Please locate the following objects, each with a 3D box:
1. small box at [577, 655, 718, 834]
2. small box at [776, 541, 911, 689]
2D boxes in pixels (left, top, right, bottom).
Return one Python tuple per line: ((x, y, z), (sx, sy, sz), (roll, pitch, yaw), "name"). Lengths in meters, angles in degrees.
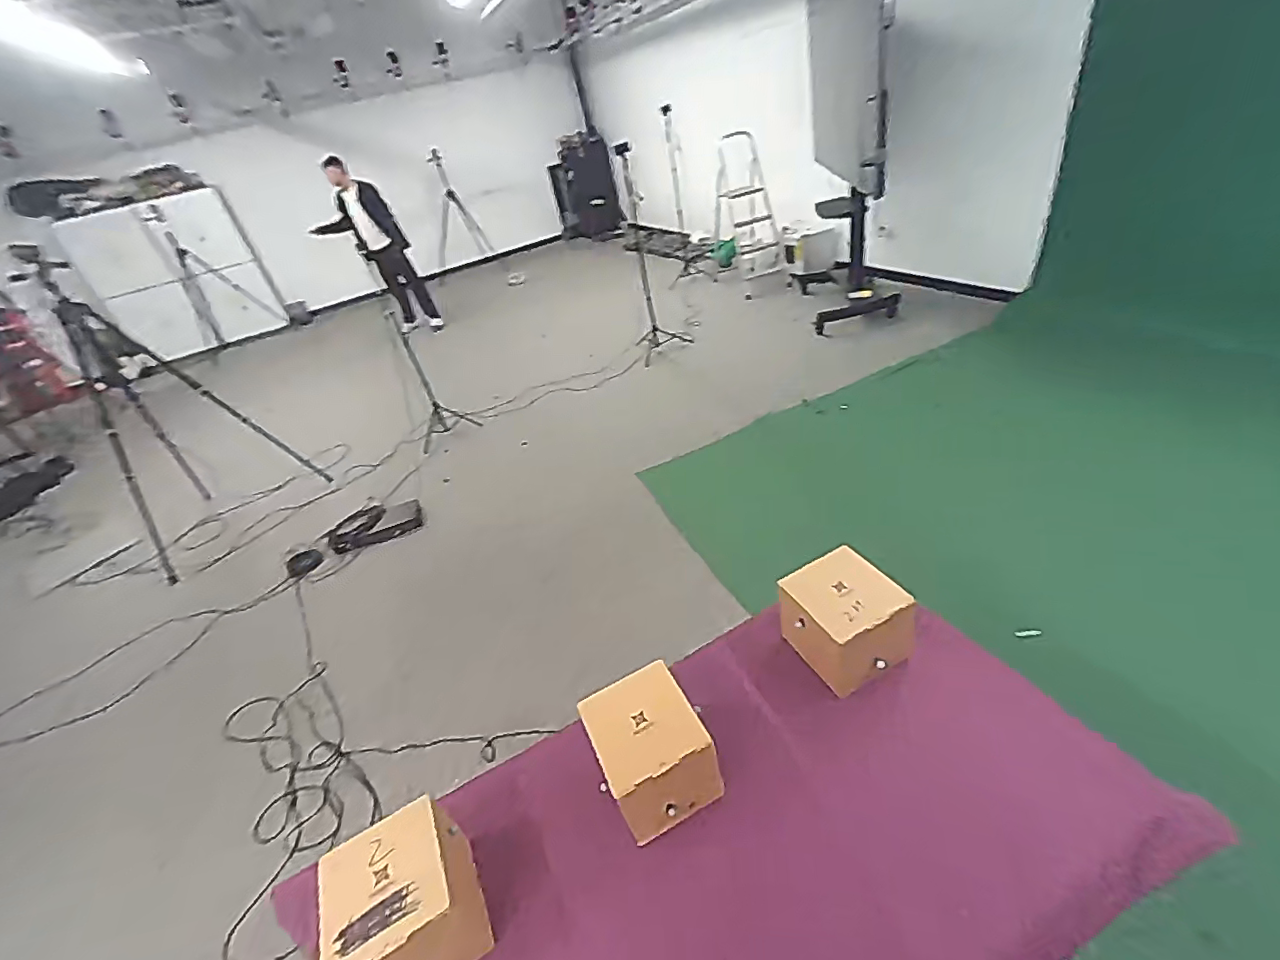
((0.014, 0.439, 0.904), (0.168, 0.176, 0.179), (-24, 37, -15), "small box")
((0.381, 0.256, 1.028), (0.168, 0.176, 0.179), (-25, 37, -12), "small box")
